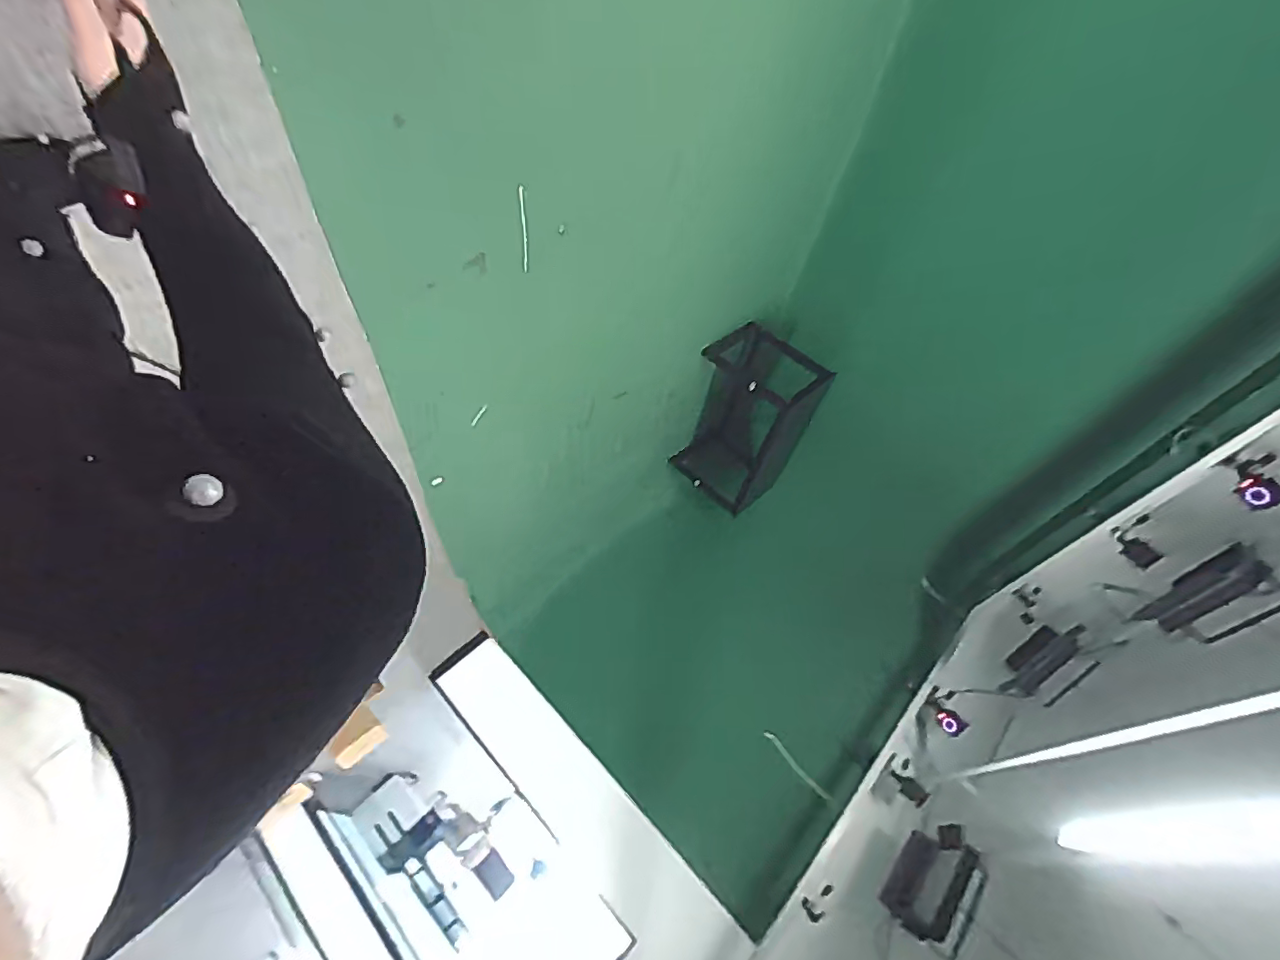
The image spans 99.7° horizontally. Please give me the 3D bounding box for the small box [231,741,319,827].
[{"bbox_3d":[-1.205,0.999,1.784,0.168,0.176,0.179,-33,154,-34],"label":"small box"}]

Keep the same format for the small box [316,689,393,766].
[{"bbox_3d":[-1.022,0.884,1.940,0.168,0.176,0.179,-35,155,-32],"label":"small box"}]
